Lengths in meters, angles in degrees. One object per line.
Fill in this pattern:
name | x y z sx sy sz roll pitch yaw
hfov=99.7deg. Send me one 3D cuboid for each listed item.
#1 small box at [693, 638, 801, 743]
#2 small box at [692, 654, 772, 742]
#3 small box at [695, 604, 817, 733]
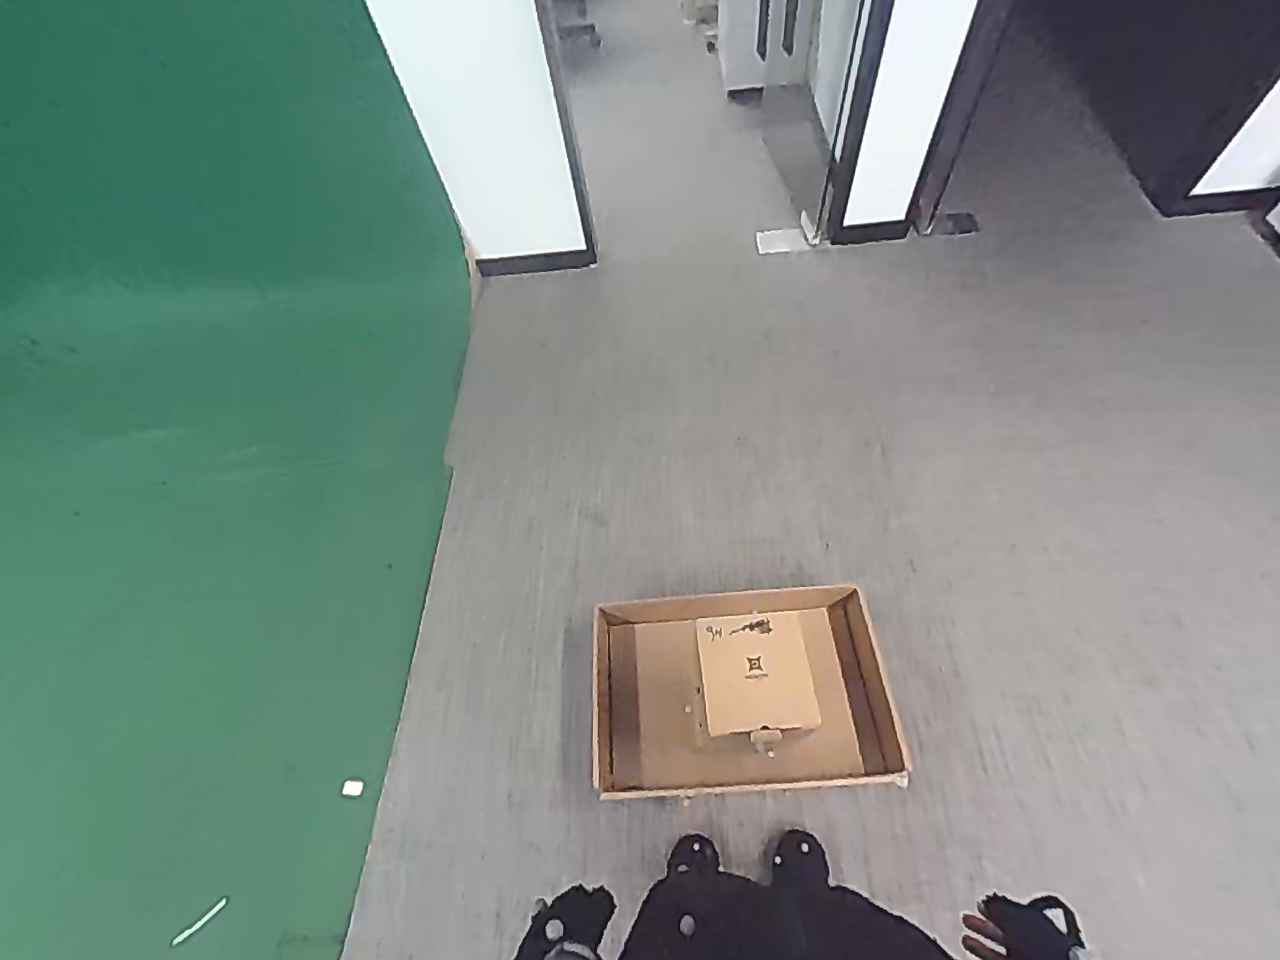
small box | 0.196 0.398 1.030 0.168 0.176 0.179 -8 59 2
small box | 0.209 0.477 1.188 0.179 0.176 0.168 -5 58 6
small box | 0.184 0.321 0.905 0.168 0.176 0.179 -5 60 3
